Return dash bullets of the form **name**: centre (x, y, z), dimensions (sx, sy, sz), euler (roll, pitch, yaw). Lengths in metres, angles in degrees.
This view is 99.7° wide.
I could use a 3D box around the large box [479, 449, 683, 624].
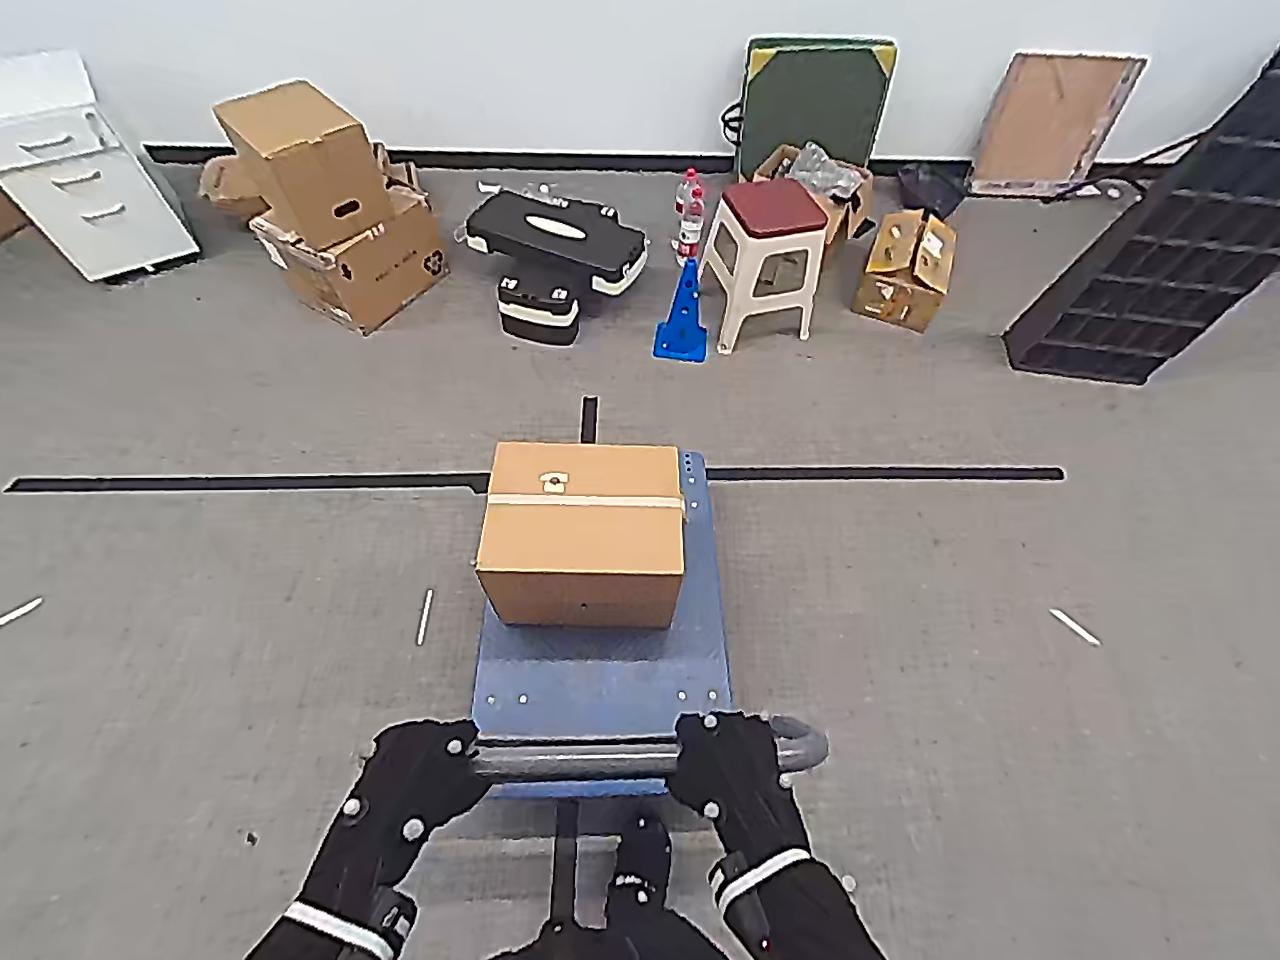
- **large box**: centre (-0.118, 0.141, 1.258), dimensions (0.408, 0.320, 0.320), euler (1, 56, -1)
